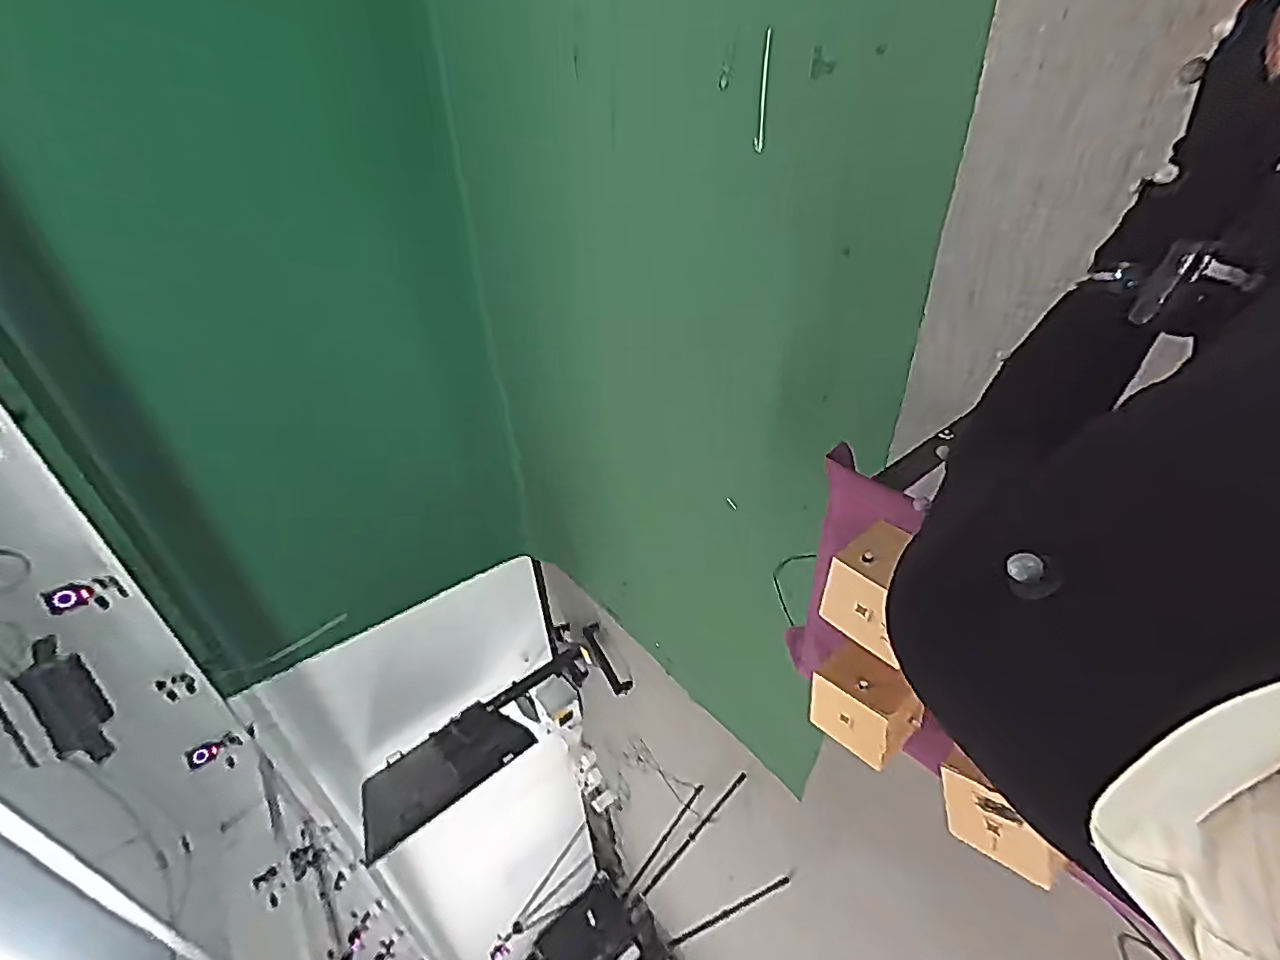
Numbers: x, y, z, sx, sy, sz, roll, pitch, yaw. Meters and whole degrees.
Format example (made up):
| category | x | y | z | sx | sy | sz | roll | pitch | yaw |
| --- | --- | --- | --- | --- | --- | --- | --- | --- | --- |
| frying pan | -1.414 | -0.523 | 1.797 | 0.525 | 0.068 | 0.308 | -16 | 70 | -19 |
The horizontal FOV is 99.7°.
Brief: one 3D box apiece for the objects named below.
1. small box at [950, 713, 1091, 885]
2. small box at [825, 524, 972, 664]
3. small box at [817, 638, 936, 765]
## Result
| category | x | y | z | sx | sy | sz | roll | pitch | yaw |
| --- | --- | --- | --- | --- | --- | --- | --- | --- | --- |
| small box | 0.701 | 0.572 | 0.997 | 0.168 | 0.176 | 0.179 | 9 | 120 | 55 |
| small box | 0.491 | 0.206 | 1.040 | 0.179 | 0.176 | 0.168 | 35 | 140 | 39 |
| small box | 0.522 | 0.477 | 1.205 | 0.179 | 0.176 | 0.168 | 25 | 132 | 45 |
